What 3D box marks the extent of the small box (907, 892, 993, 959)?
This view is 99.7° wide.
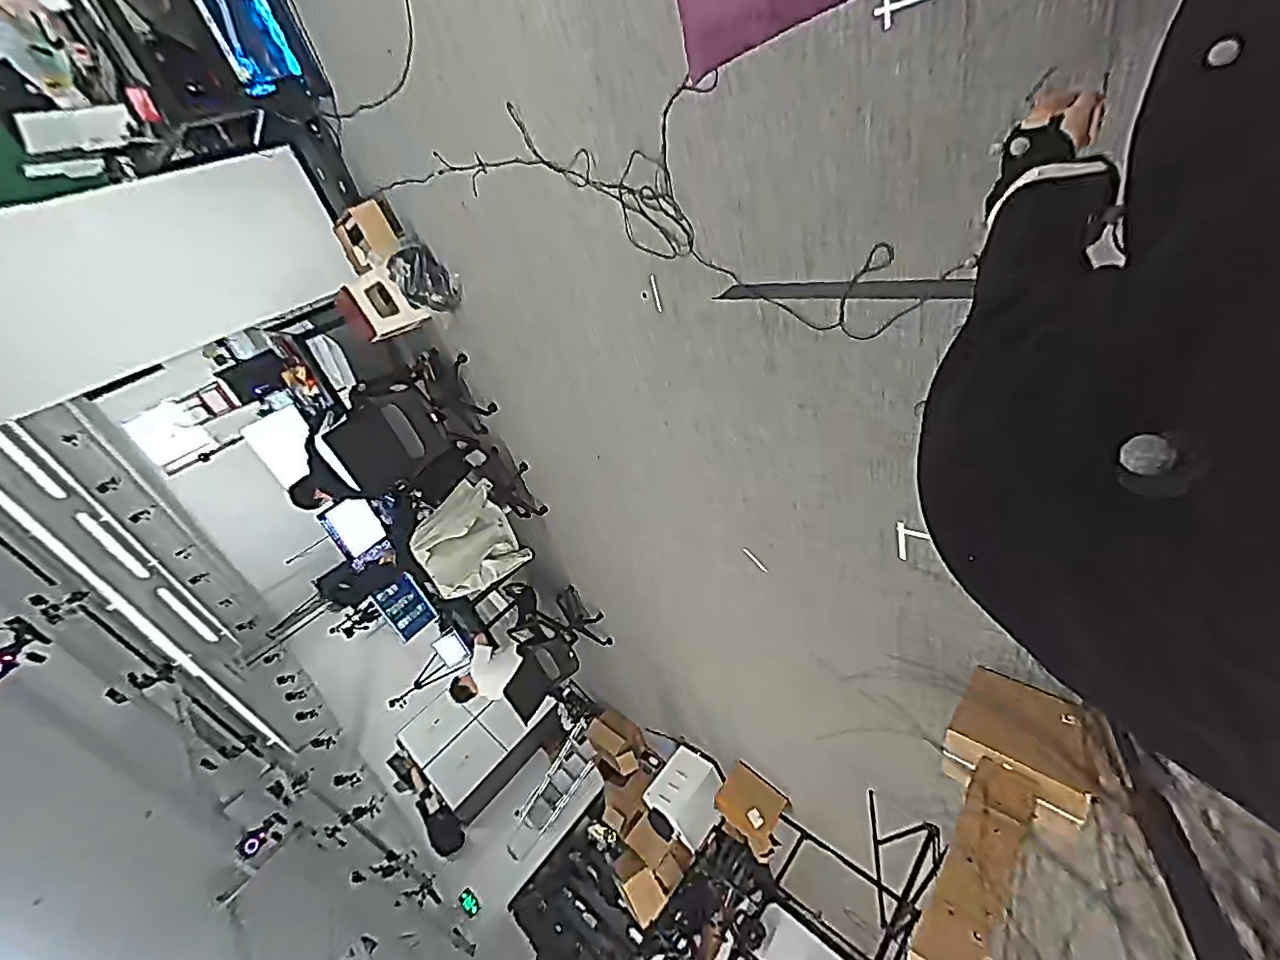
[{"bbox_3d":[0.869,1.313,1.518,0.168,0.176,0.179,19,137,41],"label":"small box"}]

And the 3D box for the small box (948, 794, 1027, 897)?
[{"bbox_3d":[1.086,1.136,1.689,0.168,0.176,0.179,16,135,42],"label":"small box"}]

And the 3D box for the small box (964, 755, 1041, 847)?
[{"bbox_3d":[1.192,1.052,1.779,0.179,0.176,0.168,17,135,44],"label":"small box"}]
